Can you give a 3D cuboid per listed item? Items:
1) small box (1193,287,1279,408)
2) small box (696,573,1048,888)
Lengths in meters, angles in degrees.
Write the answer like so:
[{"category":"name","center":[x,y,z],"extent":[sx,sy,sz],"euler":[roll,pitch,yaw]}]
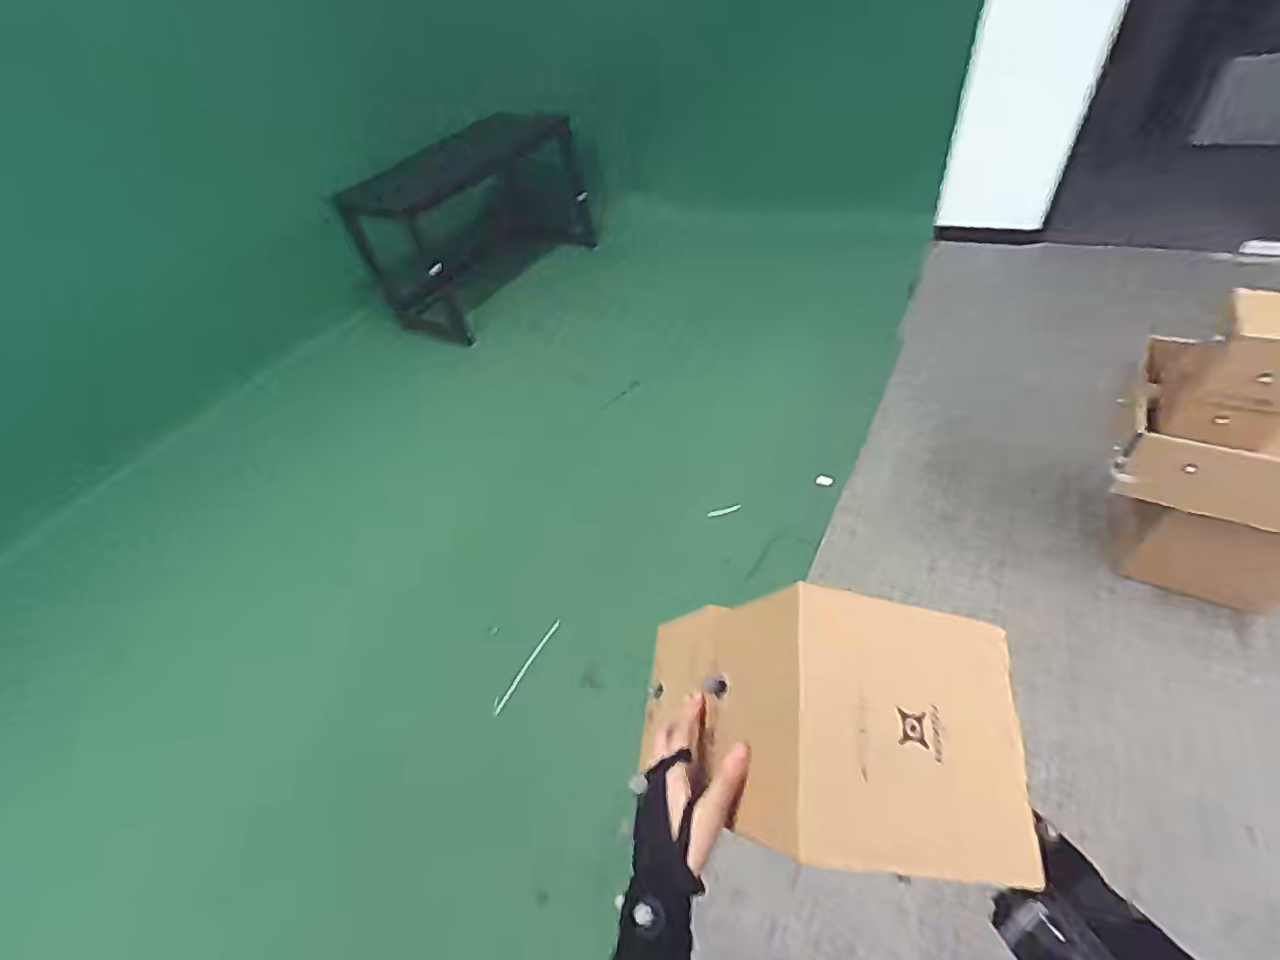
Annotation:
[{"category":"small box","center":[1.285,-0.268,1.108],"extent":[0.168,0.176,0.179],"euler":[17,54,27]},{"category":"small box","center":[0.161,0.188,0.423],"extent":[0.179,0.176,0.168],"euler":[15,63,-9]}]
